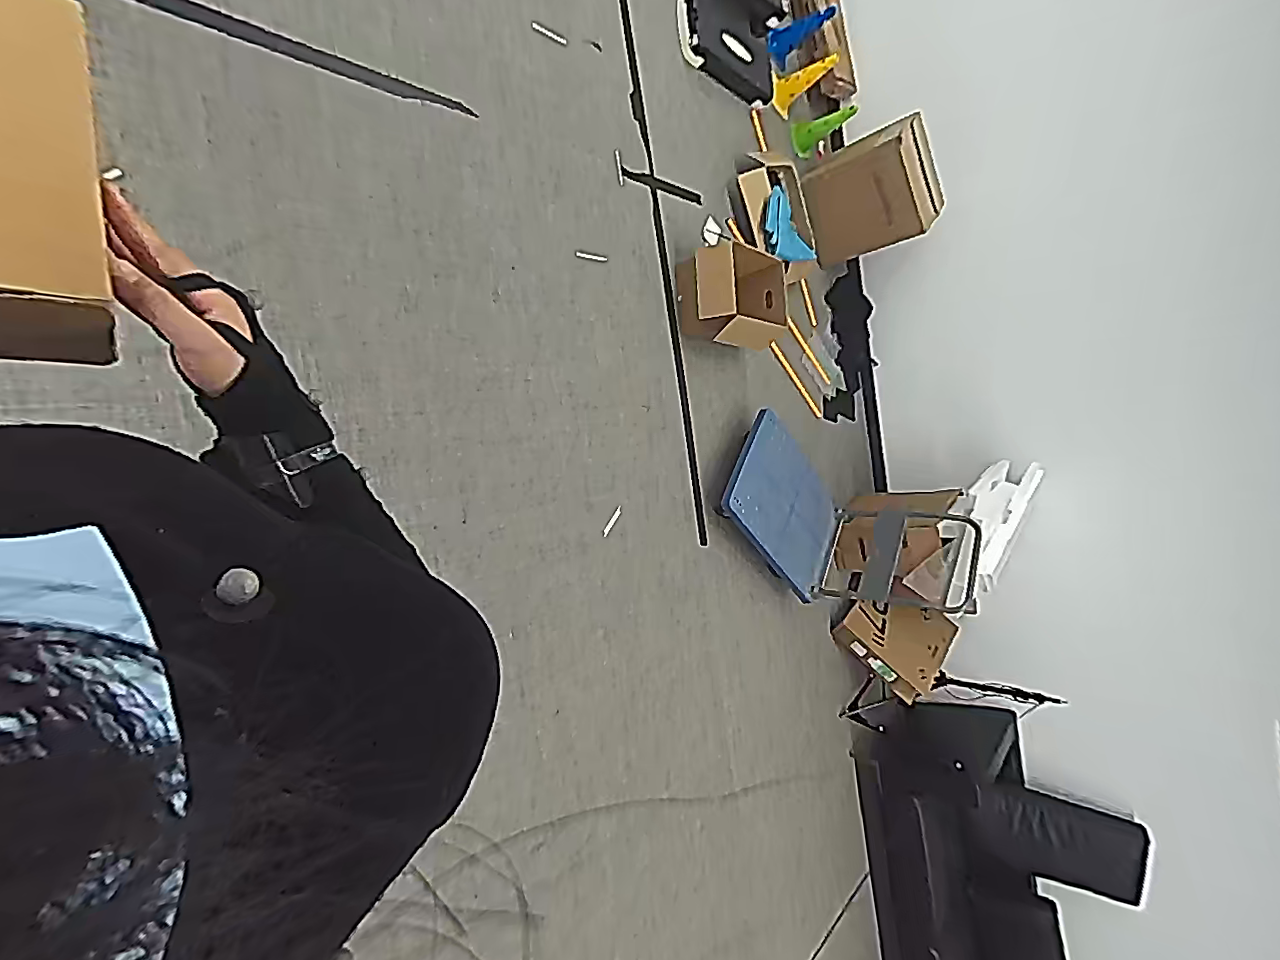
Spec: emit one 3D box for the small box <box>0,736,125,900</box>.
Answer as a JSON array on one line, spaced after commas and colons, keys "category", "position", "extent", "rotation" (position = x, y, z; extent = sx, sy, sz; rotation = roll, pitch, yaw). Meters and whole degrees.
[{"category": "small box", "position": [-1.054, 0.584, 0.964], "extent": [0.168, 0.176, 0.179], "rotation": [-15, 97, -44]}]
